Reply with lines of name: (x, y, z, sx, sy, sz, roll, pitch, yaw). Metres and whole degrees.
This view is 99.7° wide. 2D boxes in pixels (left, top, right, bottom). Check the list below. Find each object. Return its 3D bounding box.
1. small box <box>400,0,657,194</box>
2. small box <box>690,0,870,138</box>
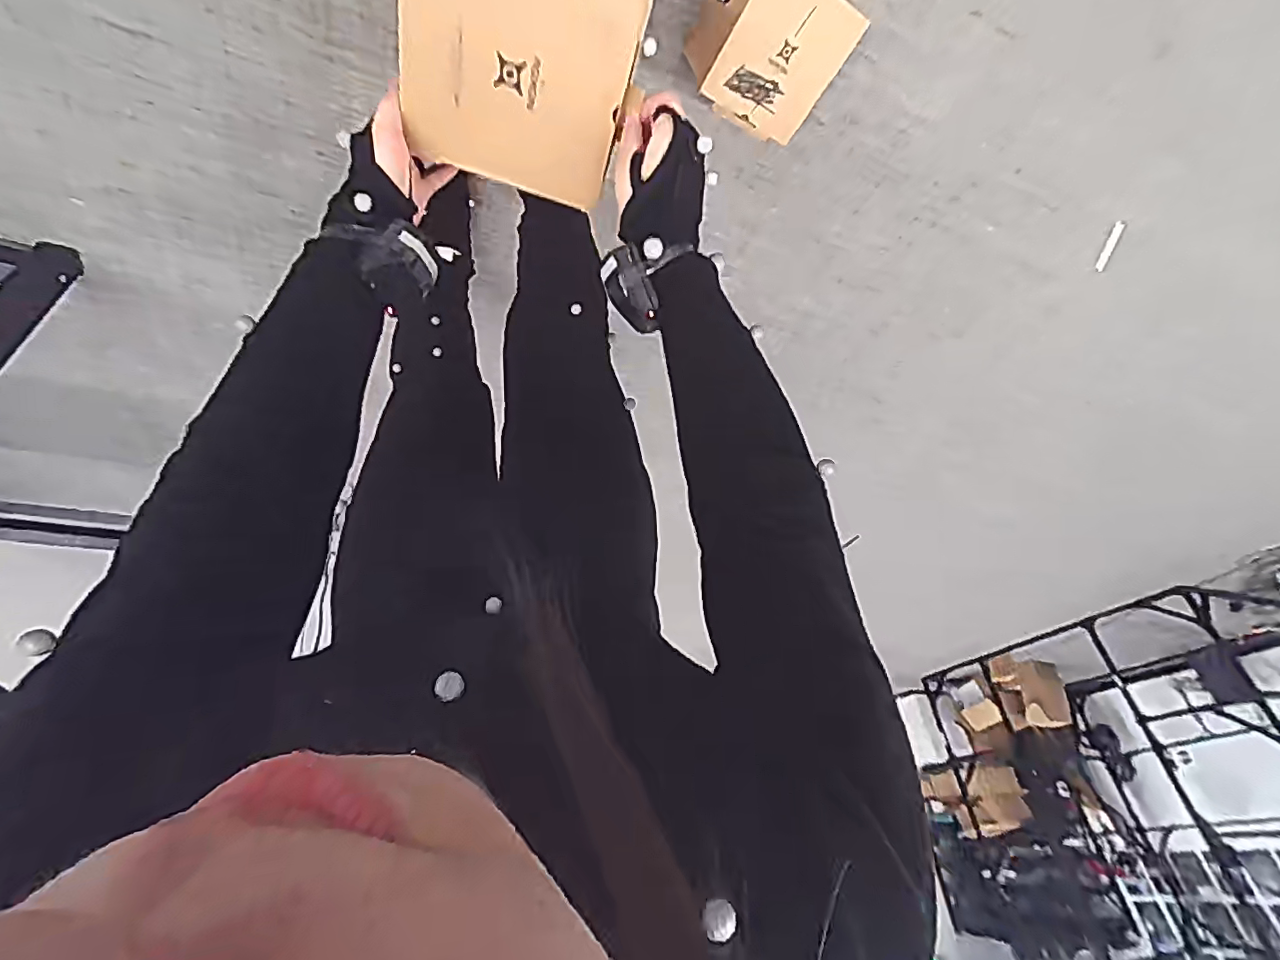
small box: (-0.089, -0.385, 0.459, 0.179, 0.176, 0.168, 13, 139, -13)
small box: (0.186, -0.649, 0.774, 0.168, 0.176, 0.179, 13, 141, -27)
